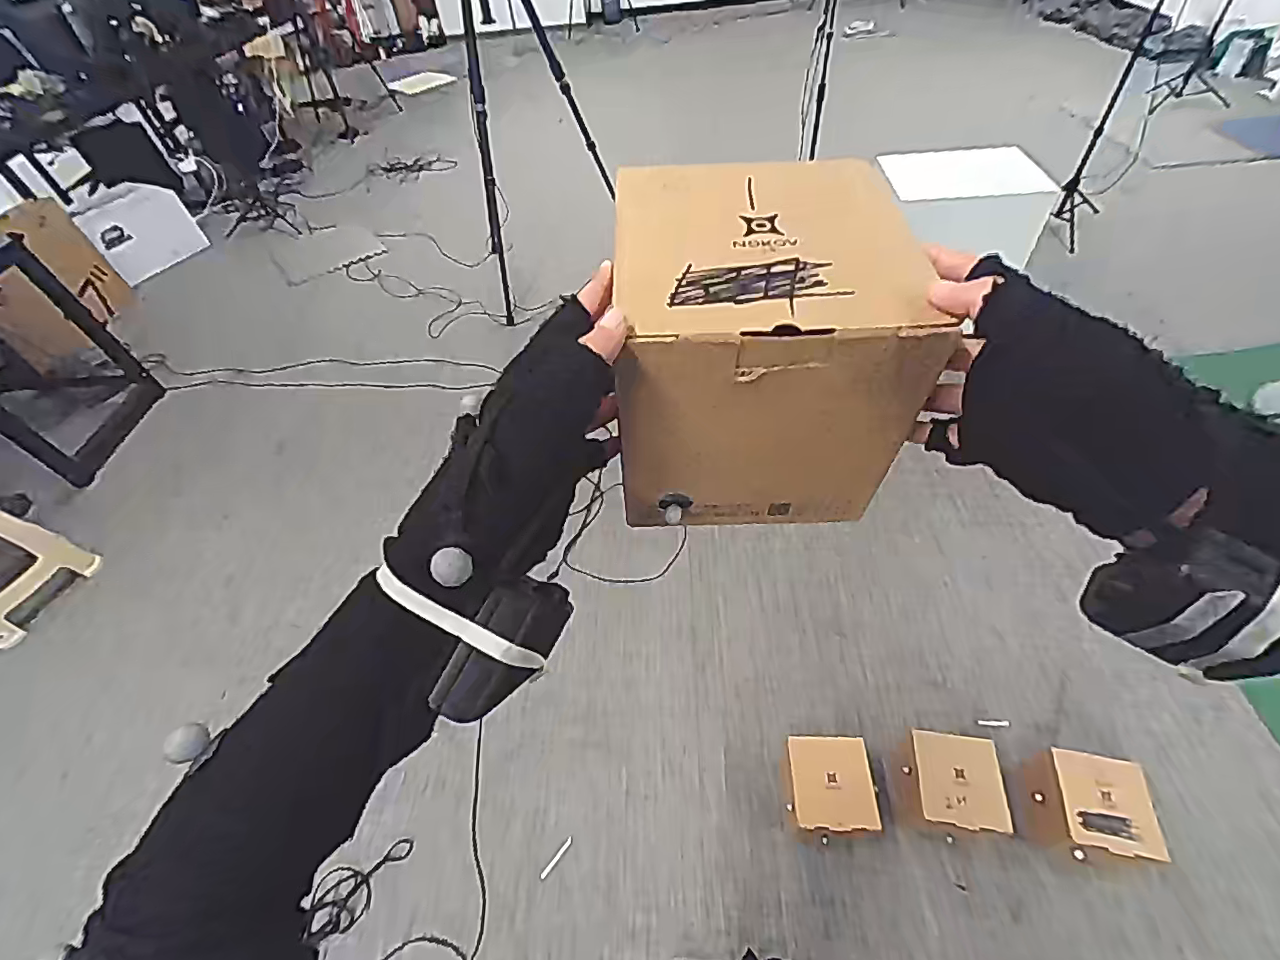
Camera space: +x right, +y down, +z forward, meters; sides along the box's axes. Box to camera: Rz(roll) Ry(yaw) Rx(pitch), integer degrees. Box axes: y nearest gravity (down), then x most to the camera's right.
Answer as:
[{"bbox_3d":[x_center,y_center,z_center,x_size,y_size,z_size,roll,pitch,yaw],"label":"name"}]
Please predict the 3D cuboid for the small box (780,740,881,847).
[{"bbox_3d":[0.408,0.691,1.191,0.168,0.176,0.179,-2,50,5],"label":"small box"}]

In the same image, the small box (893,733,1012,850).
[{"bbox_3d":[0.664,0.676,1.173,0.168,0.176,0.179,4,51,11],"label":"small box"}]
